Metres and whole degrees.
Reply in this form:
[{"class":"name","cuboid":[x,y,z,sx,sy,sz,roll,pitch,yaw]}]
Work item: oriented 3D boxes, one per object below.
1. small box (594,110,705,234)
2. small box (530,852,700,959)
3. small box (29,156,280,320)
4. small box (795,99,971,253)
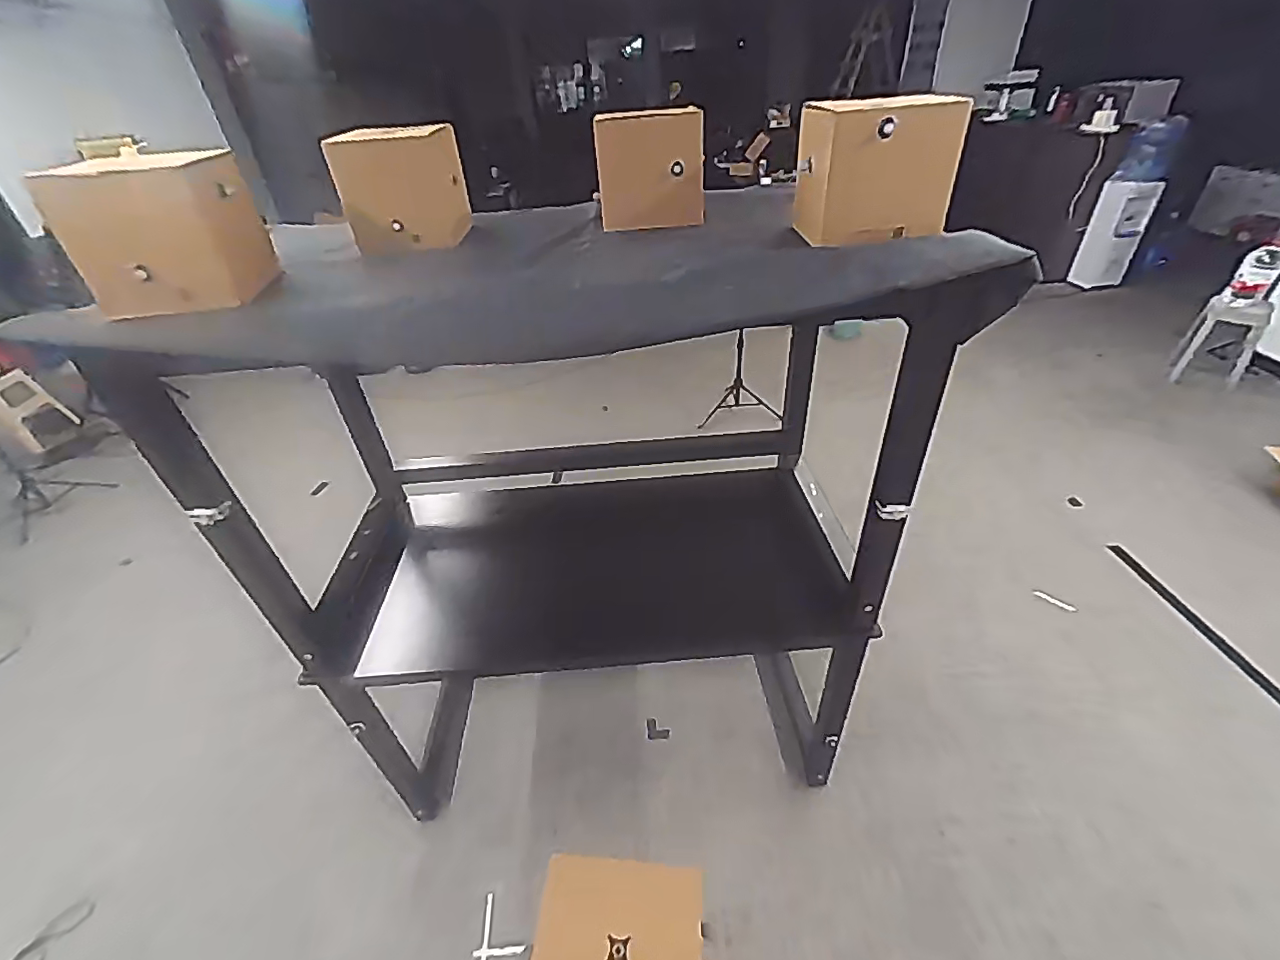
[{"class":"small box","cuboid":[0.017,-0.544,0.956,0.179,0.176,0.168,-4,36,1]},{"class":"small box","cuboid":[-0.026,0.525,0.559,0.168,0.176,0.179,3,35,3]},{"class":"small box","cuboid":[-0.627,-0.331,0.735,0.168,0.176,0.179,-10,38,-8]},{"class":"small box","cuboid":[0.322,-0.428,0.763,0.168,0.176,0.179,-3,36,3]}]
